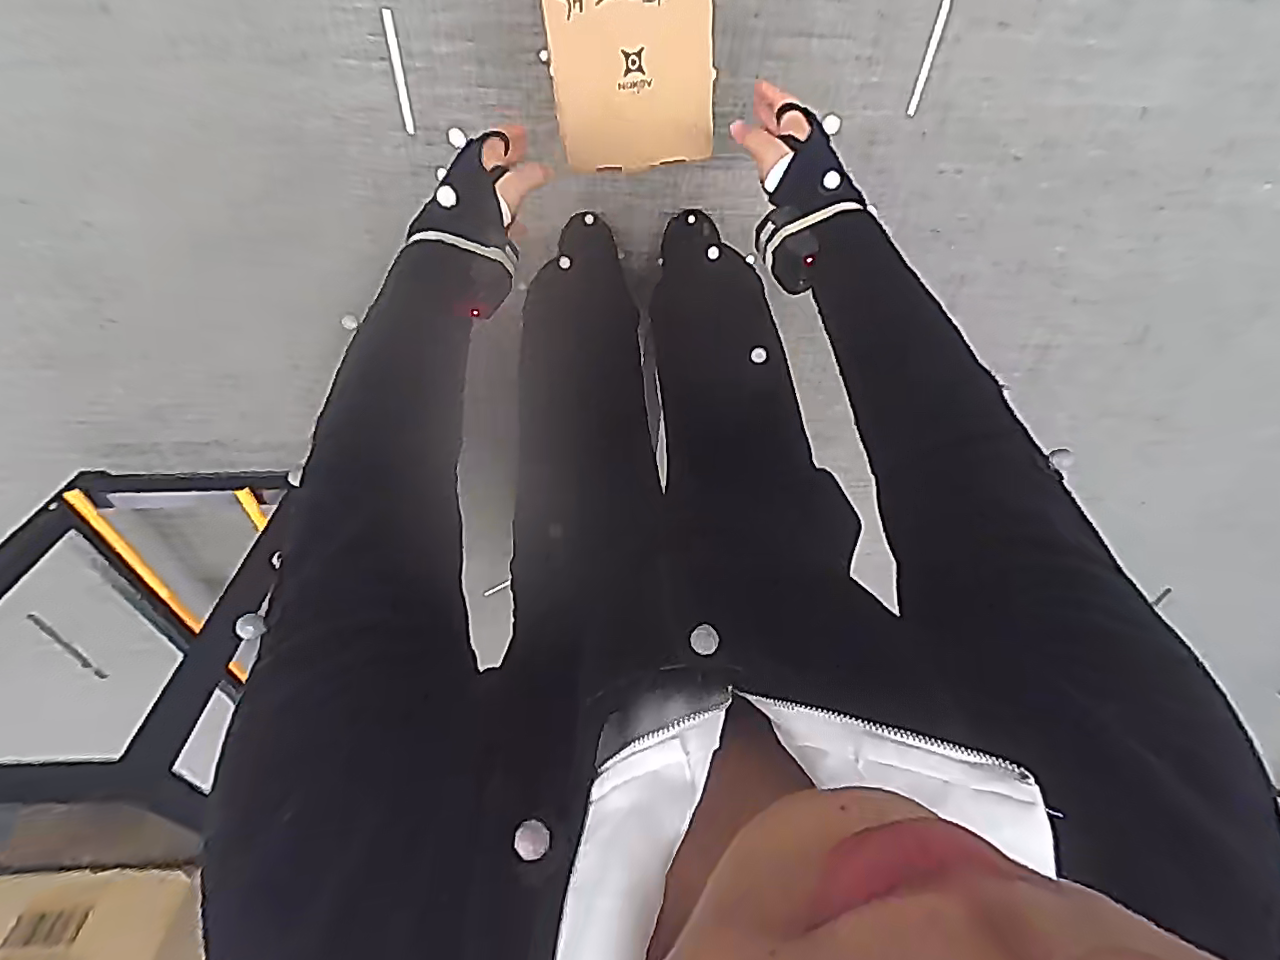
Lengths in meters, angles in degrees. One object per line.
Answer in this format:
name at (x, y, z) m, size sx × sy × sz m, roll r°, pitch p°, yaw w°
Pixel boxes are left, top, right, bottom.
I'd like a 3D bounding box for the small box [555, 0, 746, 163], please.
small box at (0.010, -0.441, 0.538) m, size 0.168 × 0.176 × 0.179 m, roll -5°, pitch 133°, yaw 2°
